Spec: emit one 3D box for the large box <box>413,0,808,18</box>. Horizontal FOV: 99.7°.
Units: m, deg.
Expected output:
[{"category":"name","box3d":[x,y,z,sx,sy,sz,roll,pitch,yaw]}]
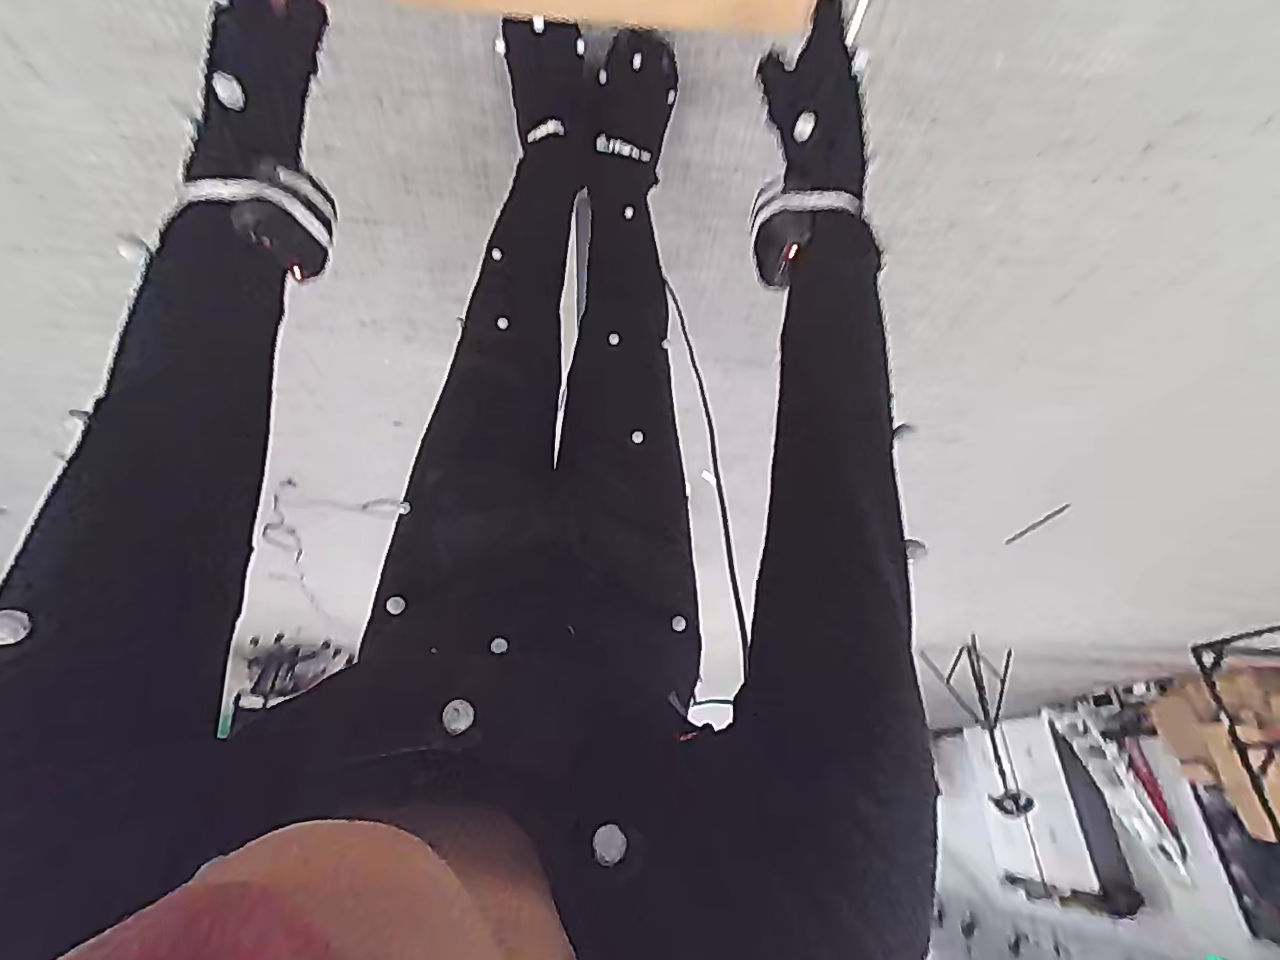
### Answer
[{"category":"large box","box3d":[-0.028,-0.675,0.484,0.408,0.320,0.320,1,151,-2]}]
